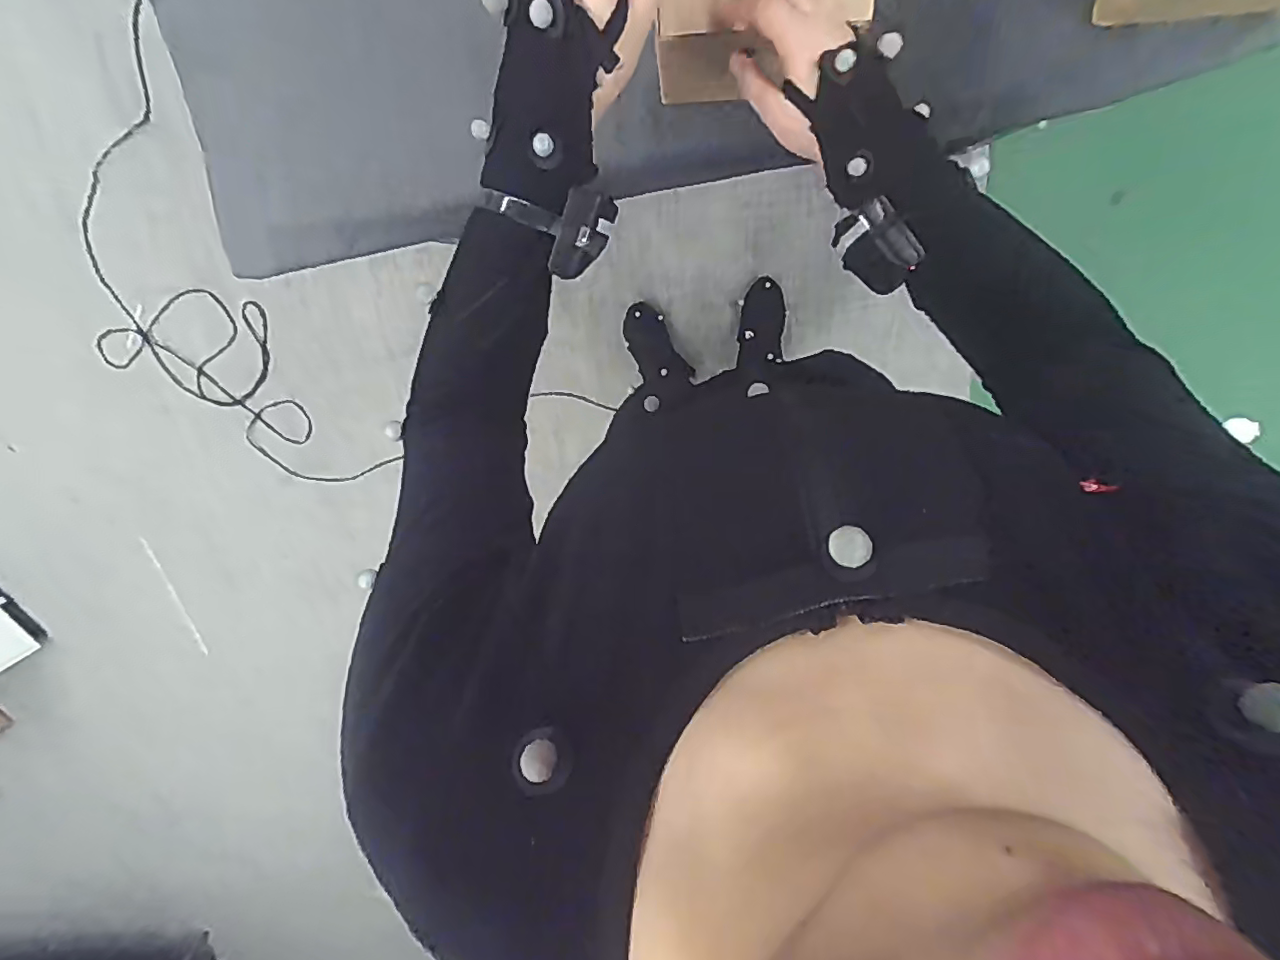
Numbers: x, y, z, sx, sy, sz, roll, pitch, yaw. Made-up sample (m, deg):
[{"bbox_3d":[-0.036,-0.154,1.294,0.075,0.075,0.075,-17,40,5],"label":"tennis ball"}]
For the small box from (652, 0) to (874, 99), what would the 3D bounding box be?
[{"bbox_3d":[0.103,-0.463,0.484,0.179,0.176,0.168,0,110,5],"label":"small box"}]

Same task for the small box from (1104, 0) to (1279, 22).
[{"bbox_3d":[0.528,-0.504,0.429,0.179,0.176,0.168,-1,108,6],"label":"small box"}]
